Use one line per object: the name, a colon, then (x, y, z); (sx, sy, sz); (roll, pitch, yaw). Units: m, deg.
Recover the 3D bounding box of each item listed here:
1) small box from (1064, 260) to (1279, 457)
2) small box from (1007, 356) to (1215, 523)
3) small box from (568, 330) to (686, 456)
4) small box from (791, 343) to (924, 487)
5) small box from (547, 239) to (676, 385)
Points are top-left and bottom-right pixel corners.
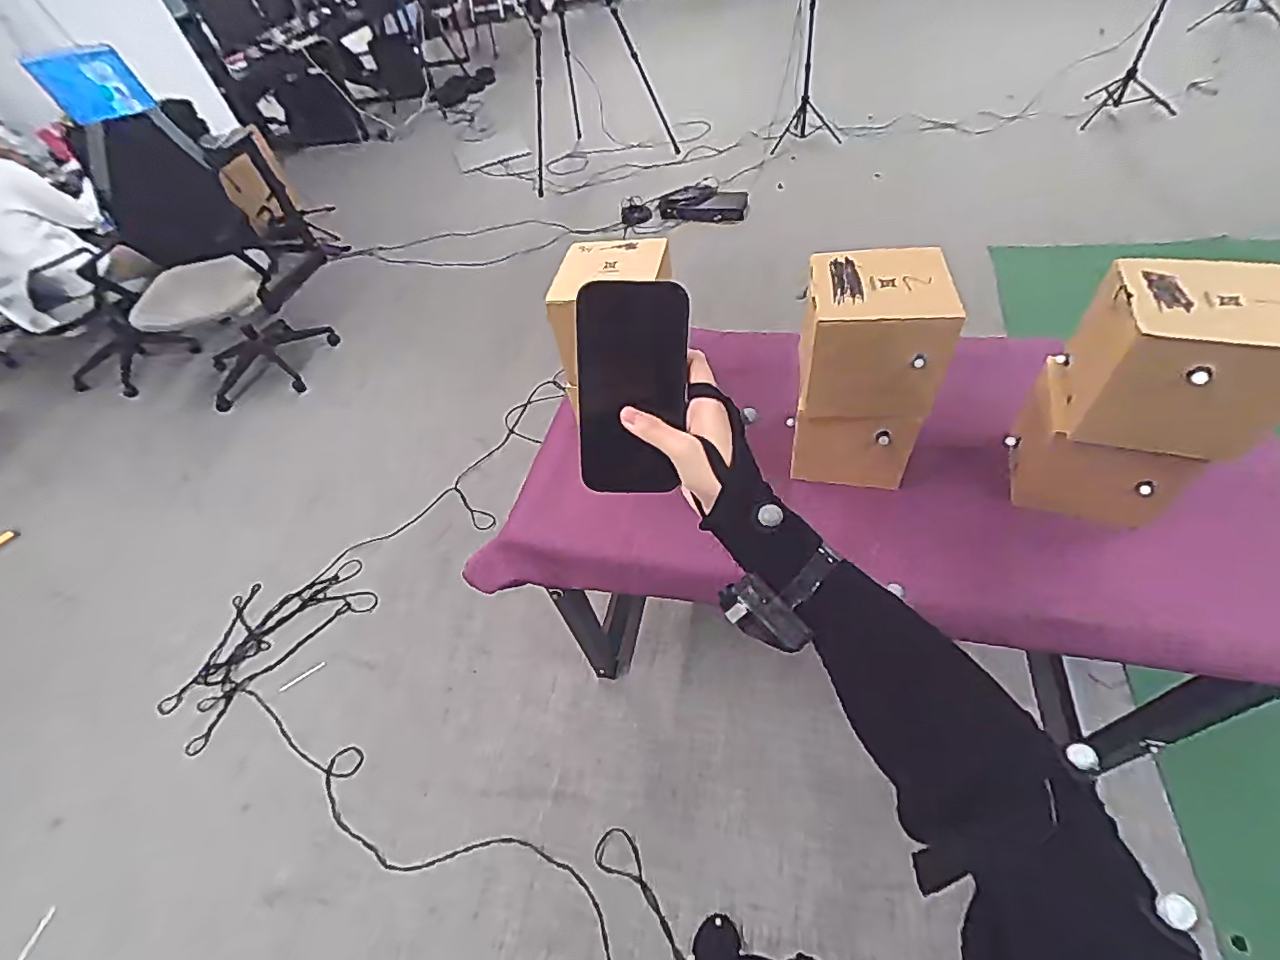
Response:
small box: (0.657, -0.148, 0.665); (0.179, 0.176, 0.168); (12, 54, 19)
small box: (0.676, -0.057, 0.801); (0.179, 0.176, 0.168); (12, 53, 20)
small box: (-0.013, -0.164, 1.020); (0.168, 0.176, 0.179); (7, 52, 16)
small box: (0.355, -0.106, 0.901); (0.179, 0.176, 0.168); (6, 52, 16)
small box: (-0.035, -0.275, 0.900); (0.168, 0.176, 0.179); (3, 52, 12)
